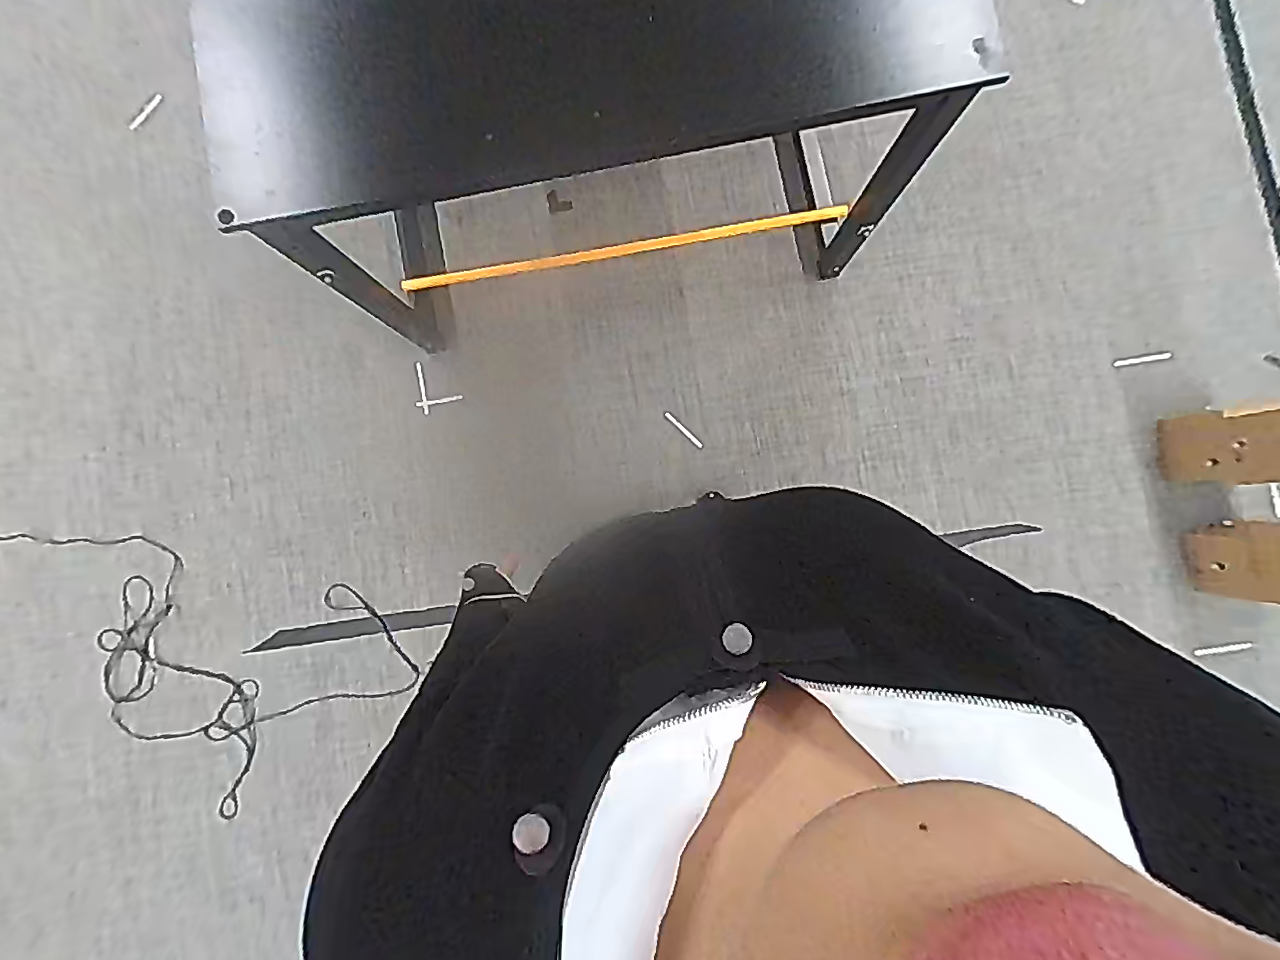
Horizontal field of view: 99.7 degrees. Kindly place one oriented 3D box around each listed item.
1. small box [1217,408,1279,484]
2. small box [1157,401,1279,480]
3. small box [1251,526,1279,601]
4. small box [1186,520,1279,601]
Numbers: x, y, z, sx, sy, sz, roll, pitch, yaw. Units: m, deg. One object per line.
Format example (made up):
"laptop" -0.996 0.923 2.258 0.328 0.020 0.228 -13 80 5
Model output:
"small box" 1.485 -0.085 1.220 0.179 0.176 0.168 -9 86 3
"small box" 1.491 -0.094 1.383 0.168 0.176 0.179 -9 87 1
"small box" 1.541 0.185 1.206 0.168 0.176 0.179 -12 88 1
"small box" 1.551 0.198 1.371 0.179 0.176 0.168 -12 87 2
